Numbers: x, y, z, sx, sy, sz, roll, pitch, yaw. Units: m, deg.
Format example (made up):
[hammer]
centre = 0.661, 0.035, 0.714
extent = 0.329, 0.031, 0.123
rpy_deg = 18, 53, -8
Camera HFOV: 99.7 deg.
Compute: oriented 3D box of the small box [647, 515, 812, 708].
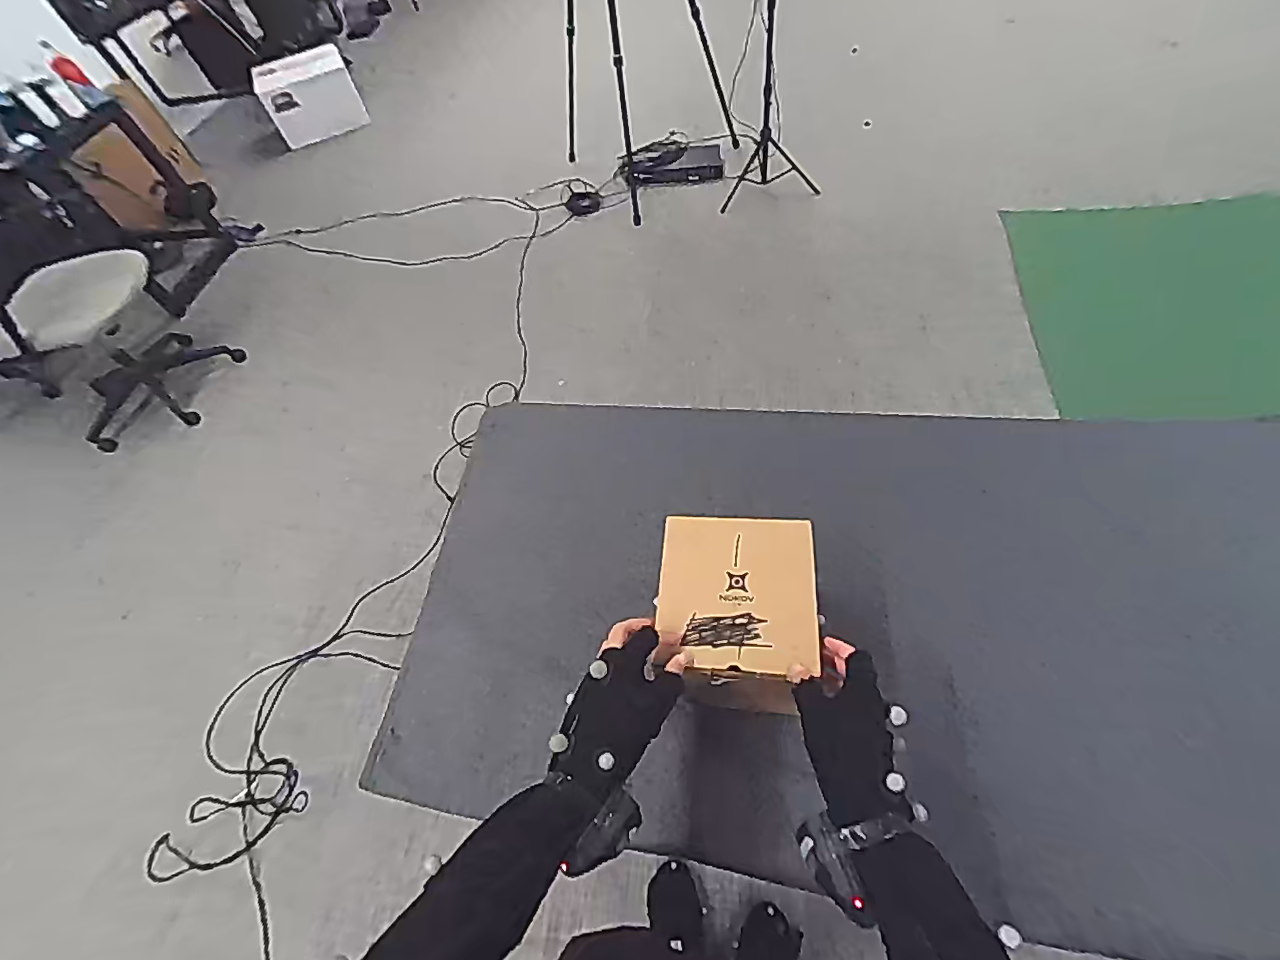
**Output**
[small box]
centre = 0.109, 0.159, 0.640
extent = 0.168, 0.176, 0.179
rpy_deg = 1, 56, 10
